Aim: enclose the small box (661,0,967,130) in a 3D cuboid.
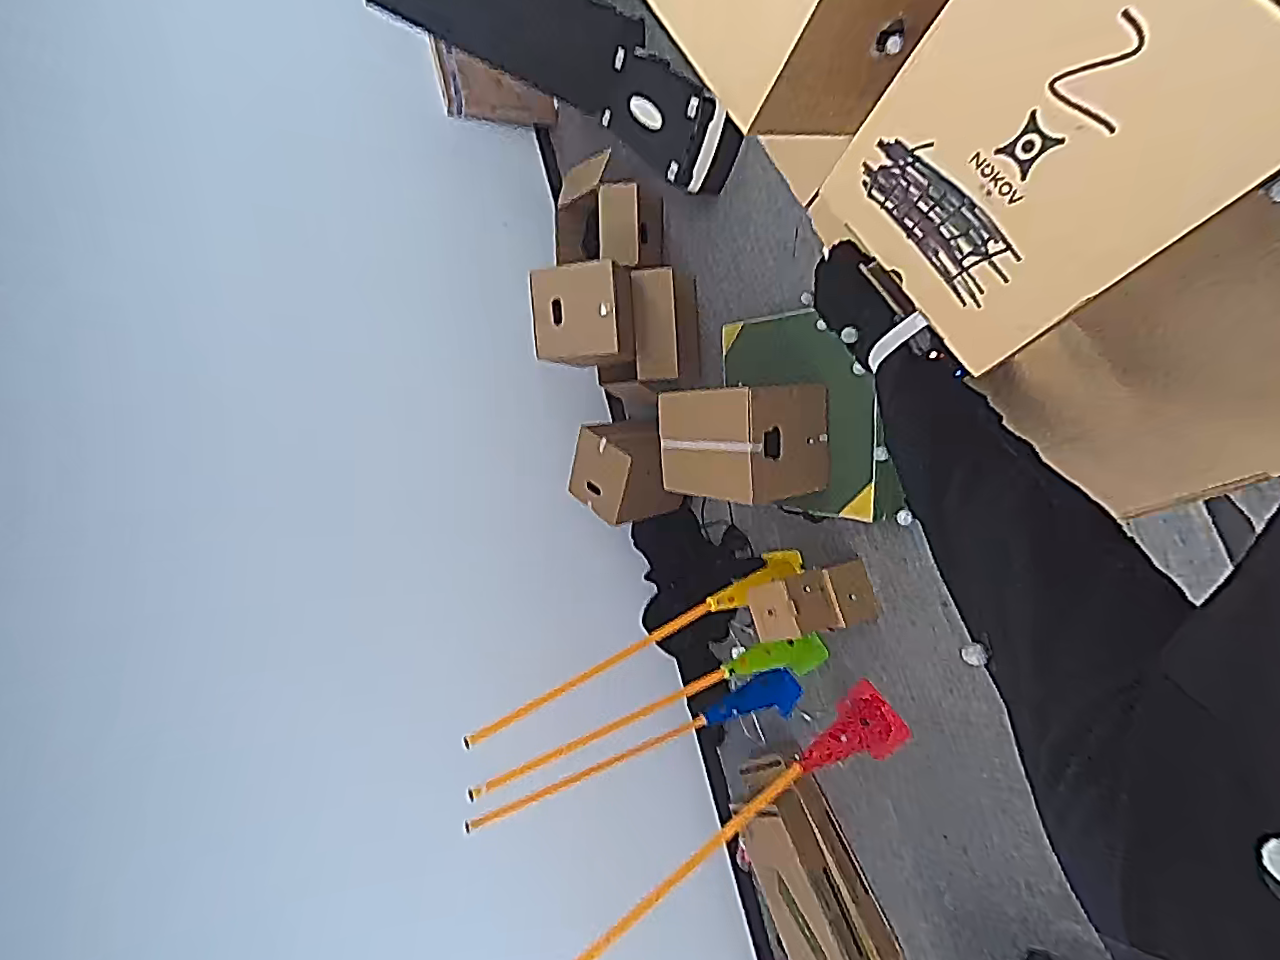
[{"bbox_3d":[0.137,-0.395,0.396,0.179,0.176,0.168,63,149,11],"label":"small box"}]
